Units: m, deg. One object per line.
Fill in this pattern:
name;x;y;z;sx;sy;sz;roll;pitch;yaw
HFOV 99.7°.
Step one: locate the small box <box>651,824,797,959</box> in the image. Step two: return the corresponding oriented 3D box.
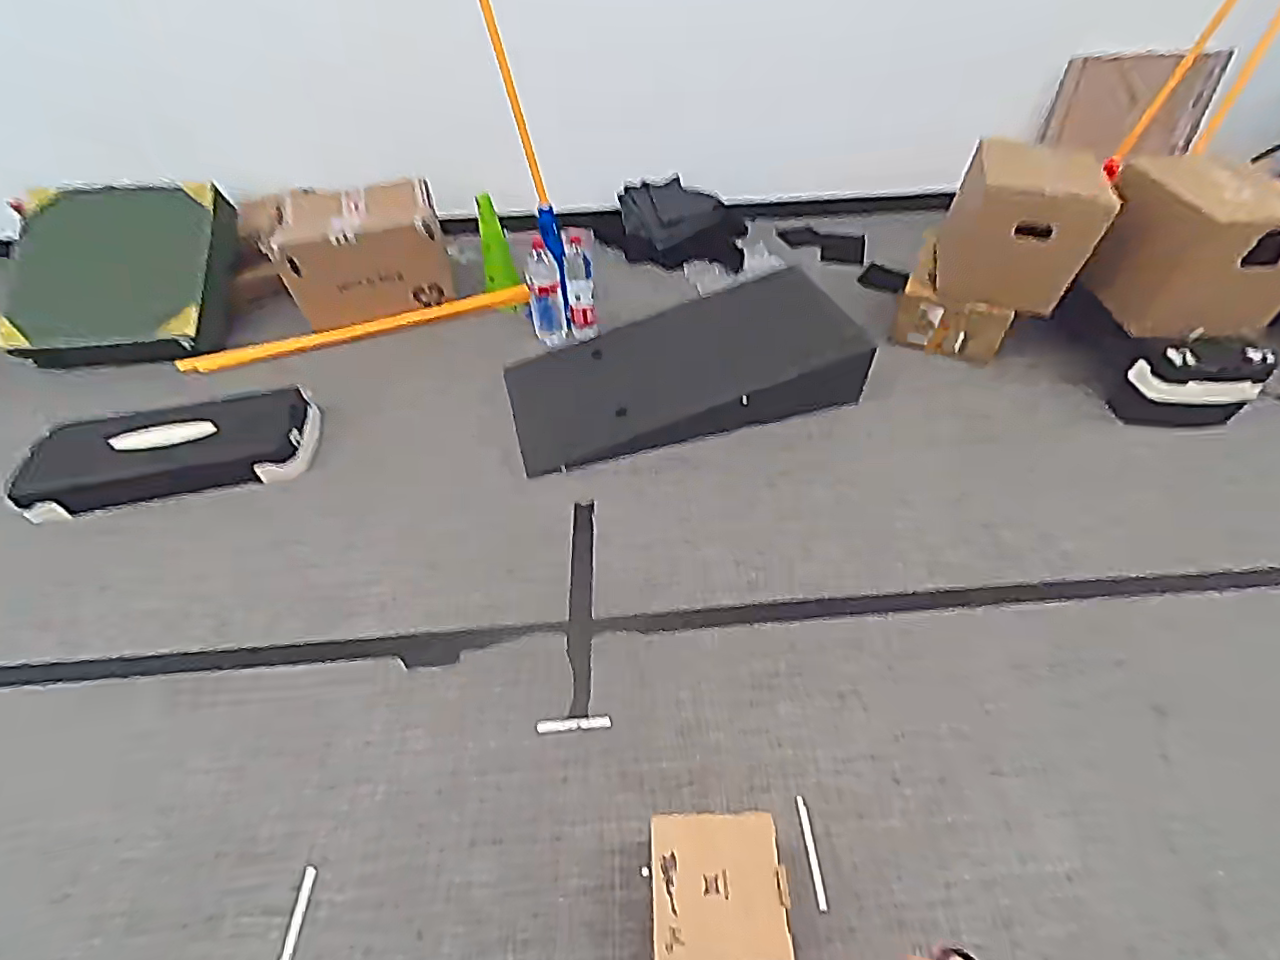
small box;0.105;0.596;0.762;0.179;0.176;0.168;0;48;0
